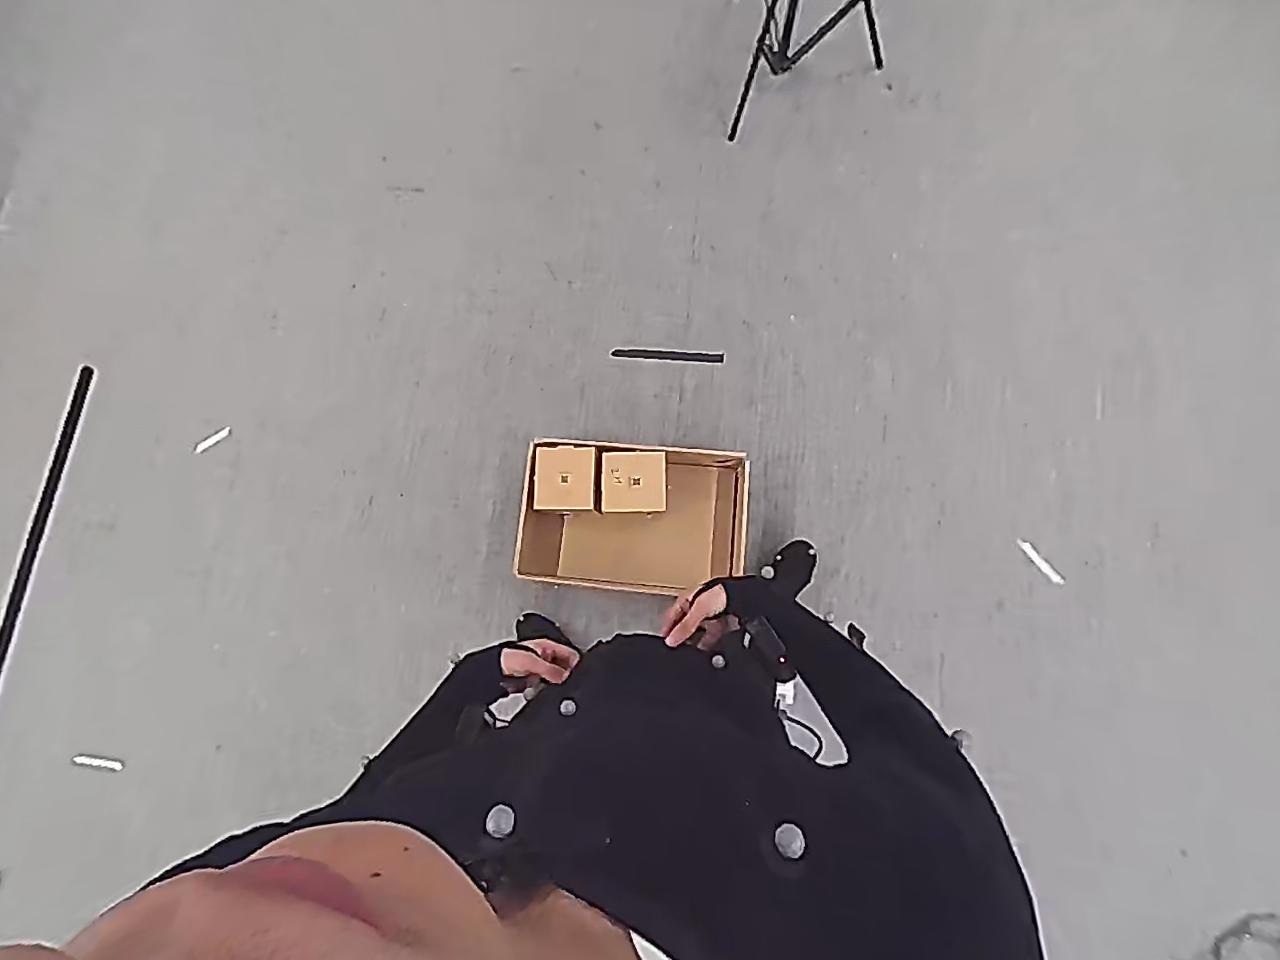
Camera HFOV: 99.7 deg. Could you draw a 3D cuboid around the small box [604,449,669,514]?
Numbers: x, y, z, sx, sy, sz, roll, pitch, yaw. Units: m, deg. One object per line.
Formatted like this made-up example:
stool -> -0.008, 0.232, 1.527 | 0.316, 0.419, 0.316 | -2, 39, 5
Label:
small box -> -0.007, 0.007, 1.532 | 0.179, 0.176, 0.168 | -1, 81, 3
